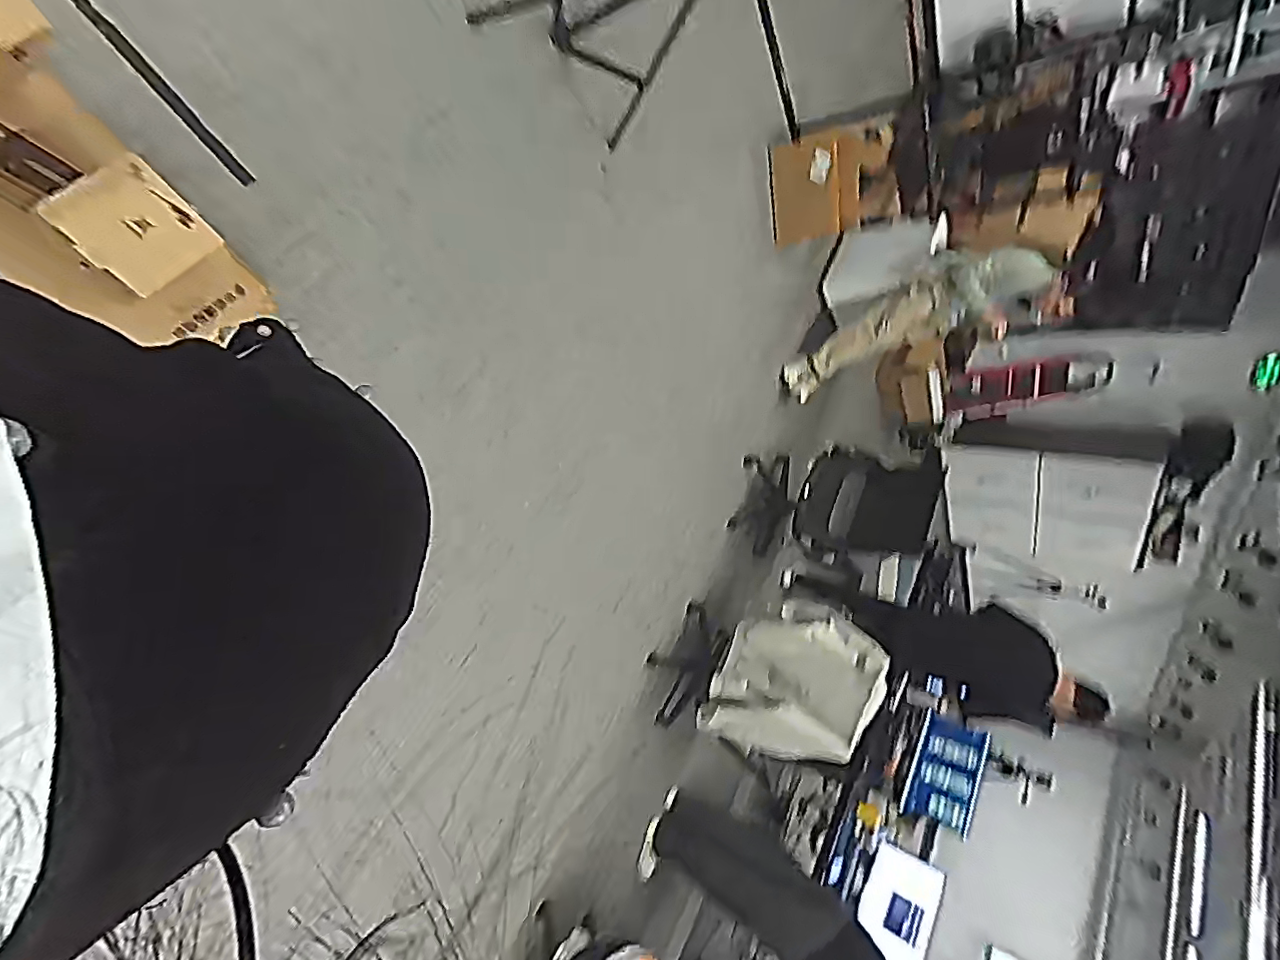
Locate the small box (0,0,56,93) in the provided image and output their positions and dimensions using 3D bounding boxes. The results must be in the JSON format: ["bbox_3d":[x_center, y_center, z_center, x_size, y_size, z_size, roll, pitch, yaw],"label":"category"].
[{"bbox_3d":[-0.896,-0.586,0.664,0.179,0.176,0.168,-56,135,-26],"label":"small box"}]

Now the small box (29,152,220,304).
[{"bbox_3d":[-0.898,-0.432,0.952,0.179,0.176,0.168,-55,132,-25],"label":"small box"}]
